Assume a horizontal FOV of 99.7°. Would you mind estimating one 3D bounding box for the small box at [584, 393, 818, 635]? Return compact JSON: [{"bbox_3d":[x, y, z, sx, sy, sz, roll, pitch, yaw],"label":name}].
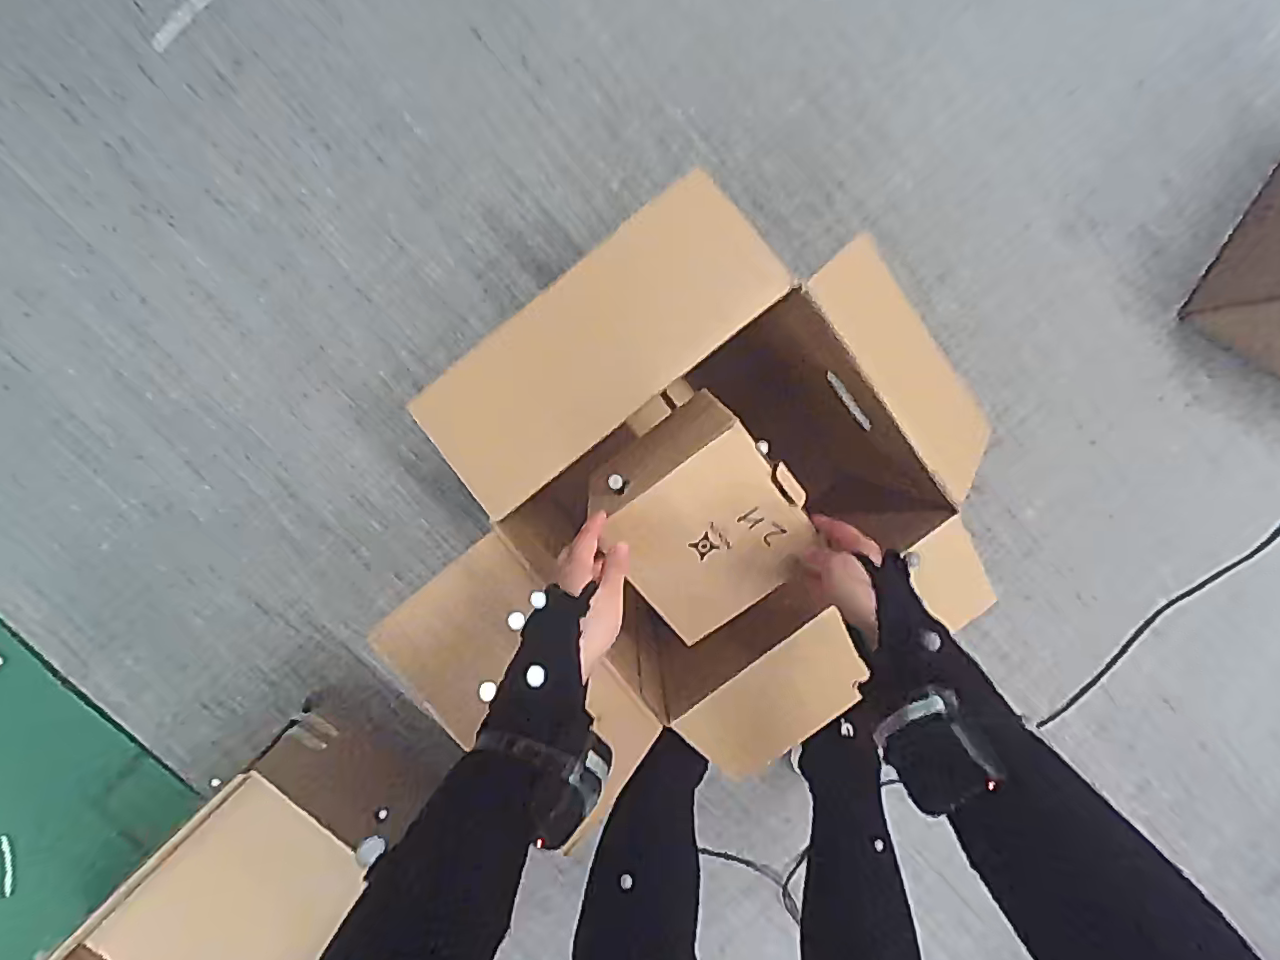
[{"bbox_3d":[0.057,0.027,0.600,0.179,0.176,0.168,-37,108,8],"label":"small box"}]
